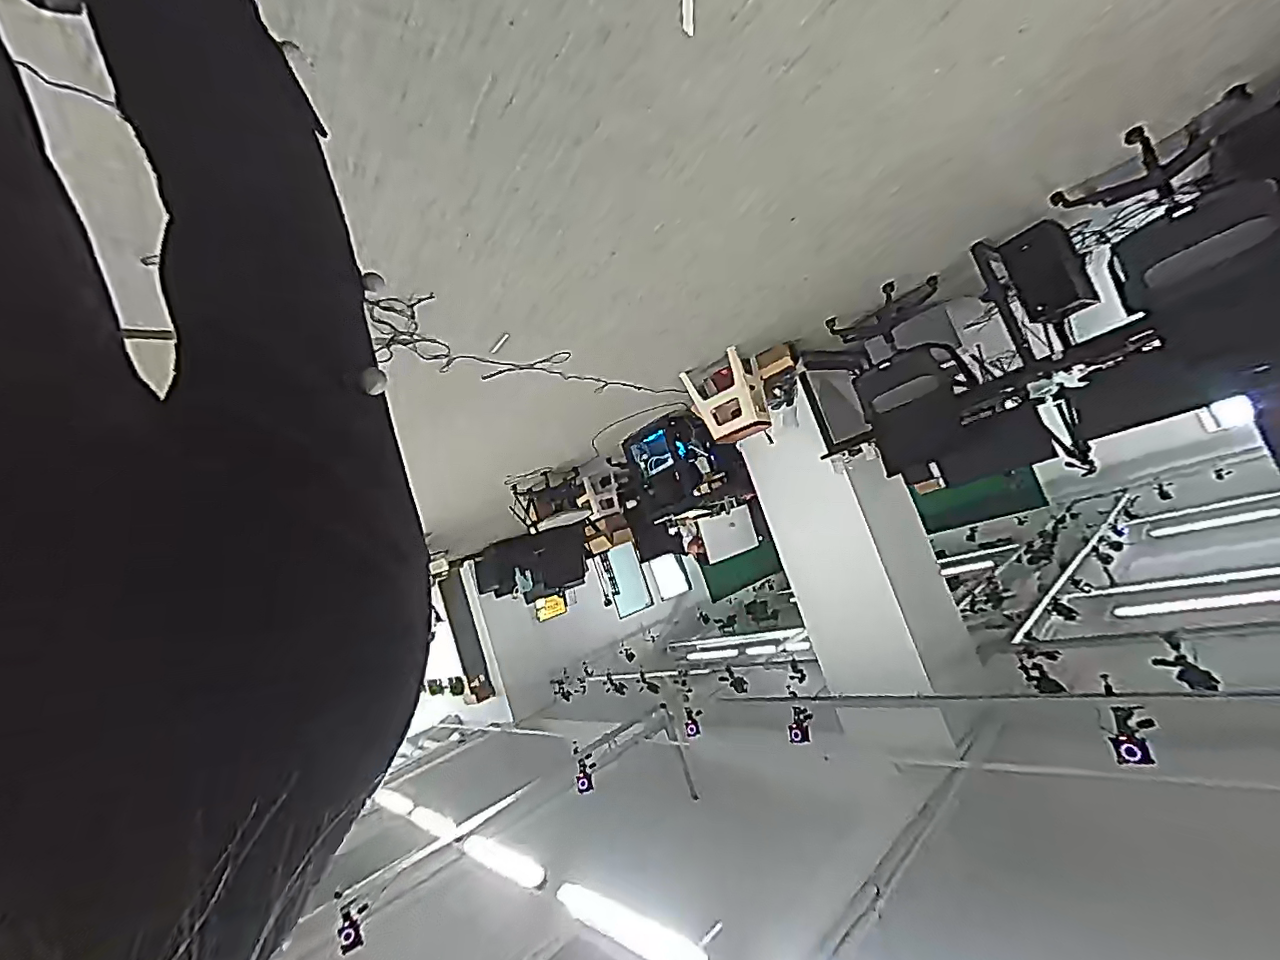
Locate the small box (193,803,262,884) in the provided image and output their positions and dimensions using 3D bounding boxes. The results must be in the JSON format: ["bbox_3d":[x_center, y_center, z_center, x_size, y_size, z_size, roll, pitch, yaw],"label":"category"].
[{"bbox_3d":[-1.463,1.277,1.912,0.168,0.176,0.179,-10,169,-44],"label":"small box"}]
